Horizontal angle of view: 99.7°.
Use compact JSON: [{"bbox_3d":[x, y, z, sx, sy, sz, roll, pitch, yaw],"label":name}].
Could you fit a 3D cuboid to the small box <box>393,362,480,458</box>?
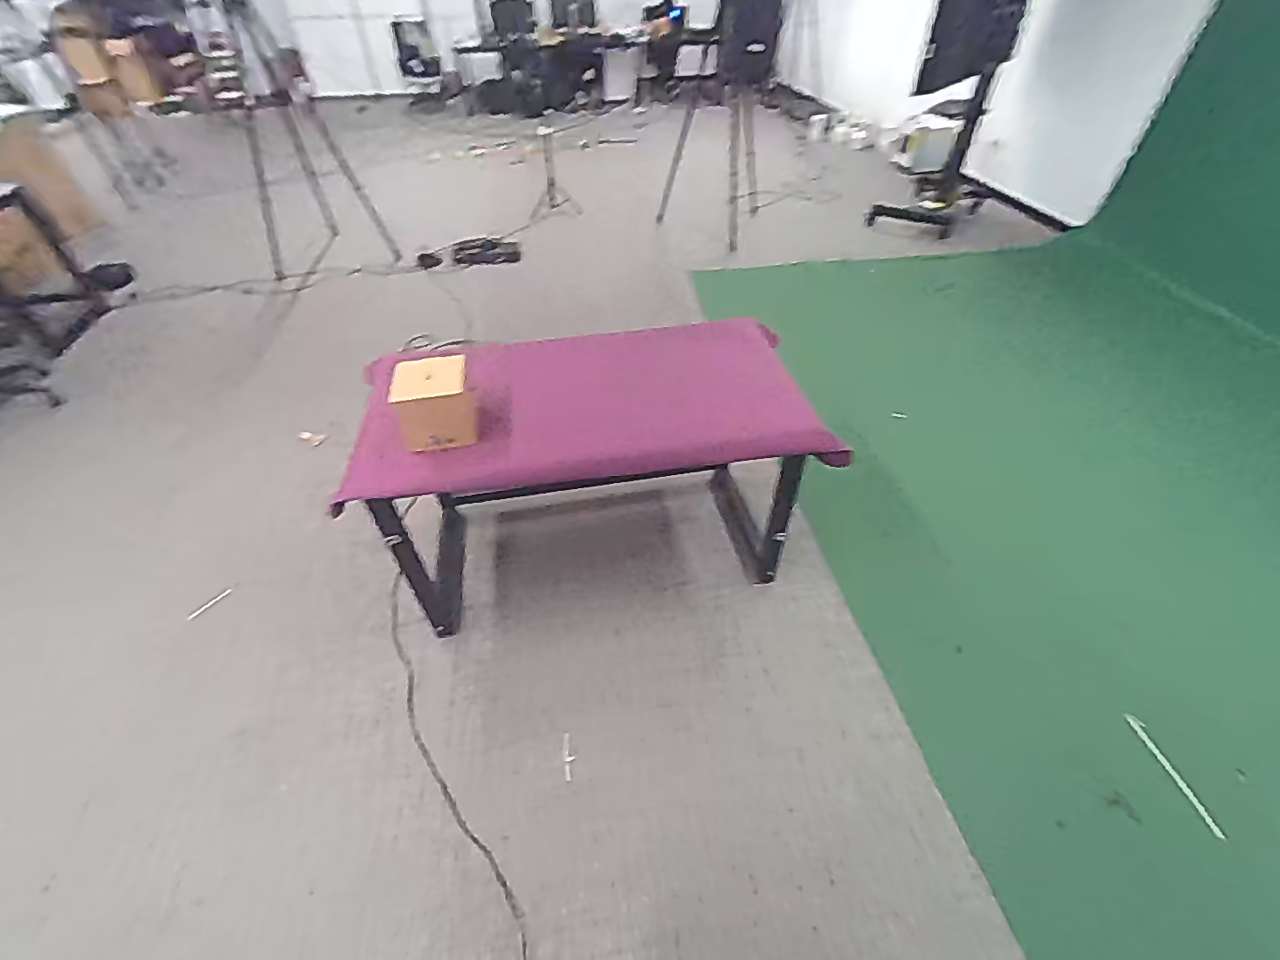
[{"bbox_3d":[-0.512,-0.180,1.386,0.168,0.176,0.179,-9,45,-7],"label":"small box"}]
